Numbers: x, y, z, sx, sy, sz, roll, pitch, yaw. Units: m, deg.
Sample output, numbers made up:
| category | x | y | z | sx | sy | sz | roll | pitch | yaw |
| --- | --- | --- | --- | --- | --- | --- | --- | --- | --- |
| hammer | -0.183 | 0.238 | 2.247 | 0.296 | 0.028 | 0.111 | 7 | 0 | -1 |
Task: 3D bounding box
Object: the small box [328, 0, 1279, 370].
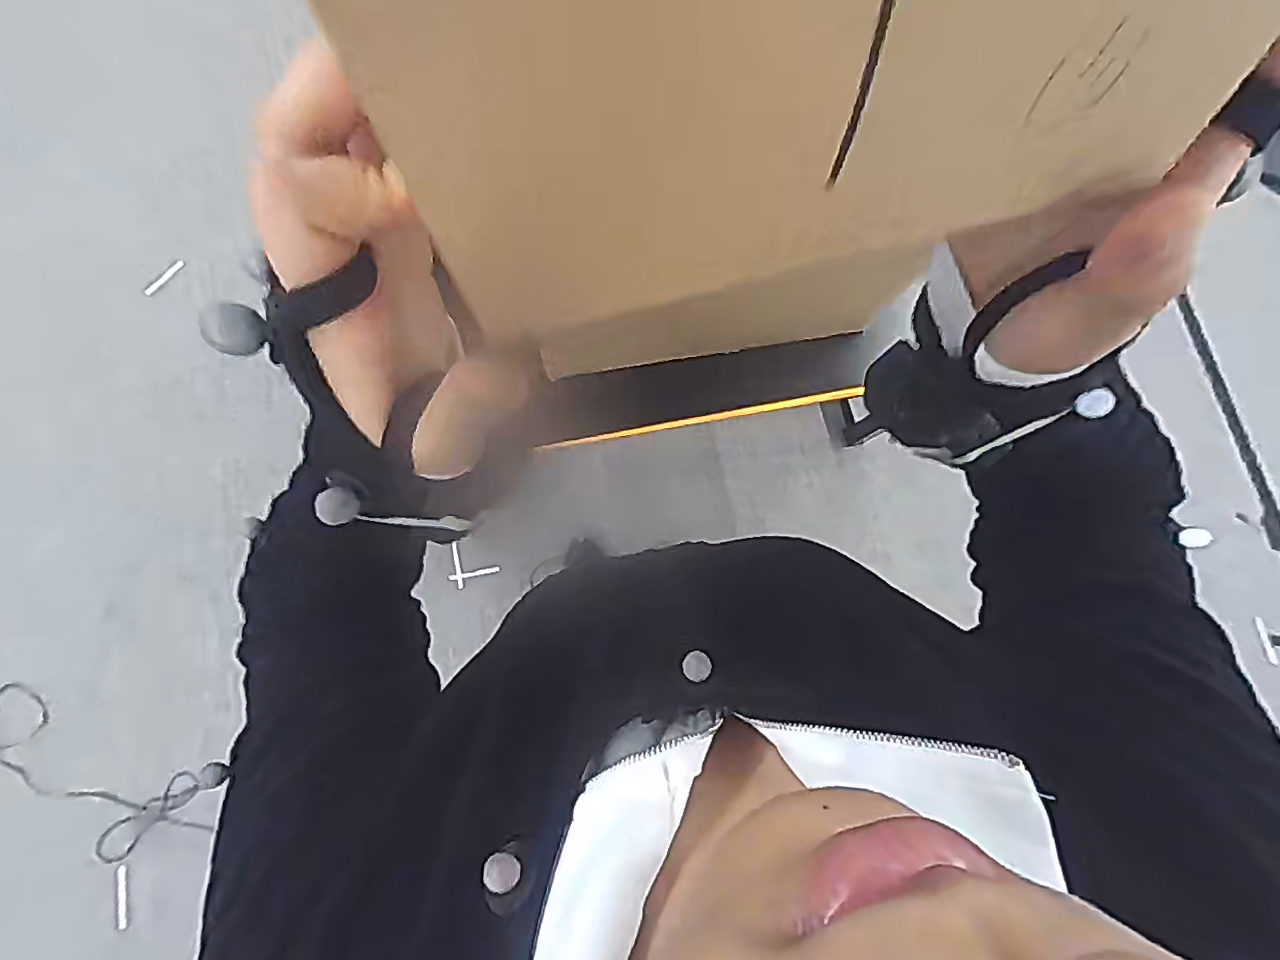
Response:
| category | x | y | z | sx | sy | sz | roll | pitch | yaw |
| --- | --- | --- | --- | --- | --- | --- | --- | --- | --- |
| small box | 0.019 | -0.155 | 0.099 | 0.168 | 0.179 | 0.176 | -14 | 60 | -1 |
